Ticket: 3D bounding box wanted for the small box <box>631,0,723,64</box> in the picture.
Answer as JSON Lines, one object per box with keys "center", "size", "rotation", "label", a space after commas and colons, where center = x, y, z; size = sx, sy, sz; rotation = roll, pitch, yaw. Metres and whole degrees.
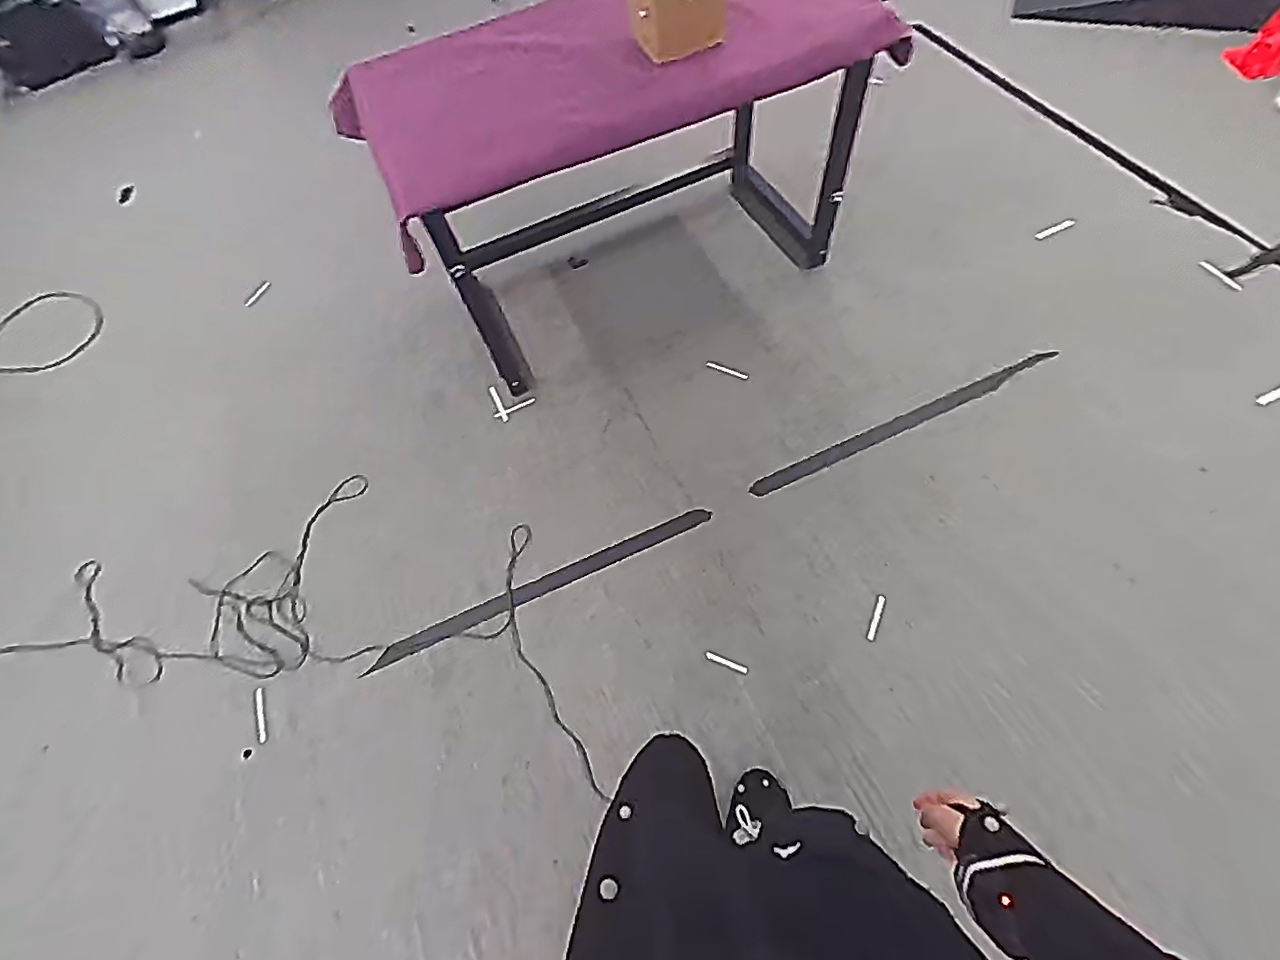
{"center": [0.083, -1.094, 1.231], "size": [0.179, 0.176, 0.168], "rotation": [-22, 64, -5], "label": "small box"}
